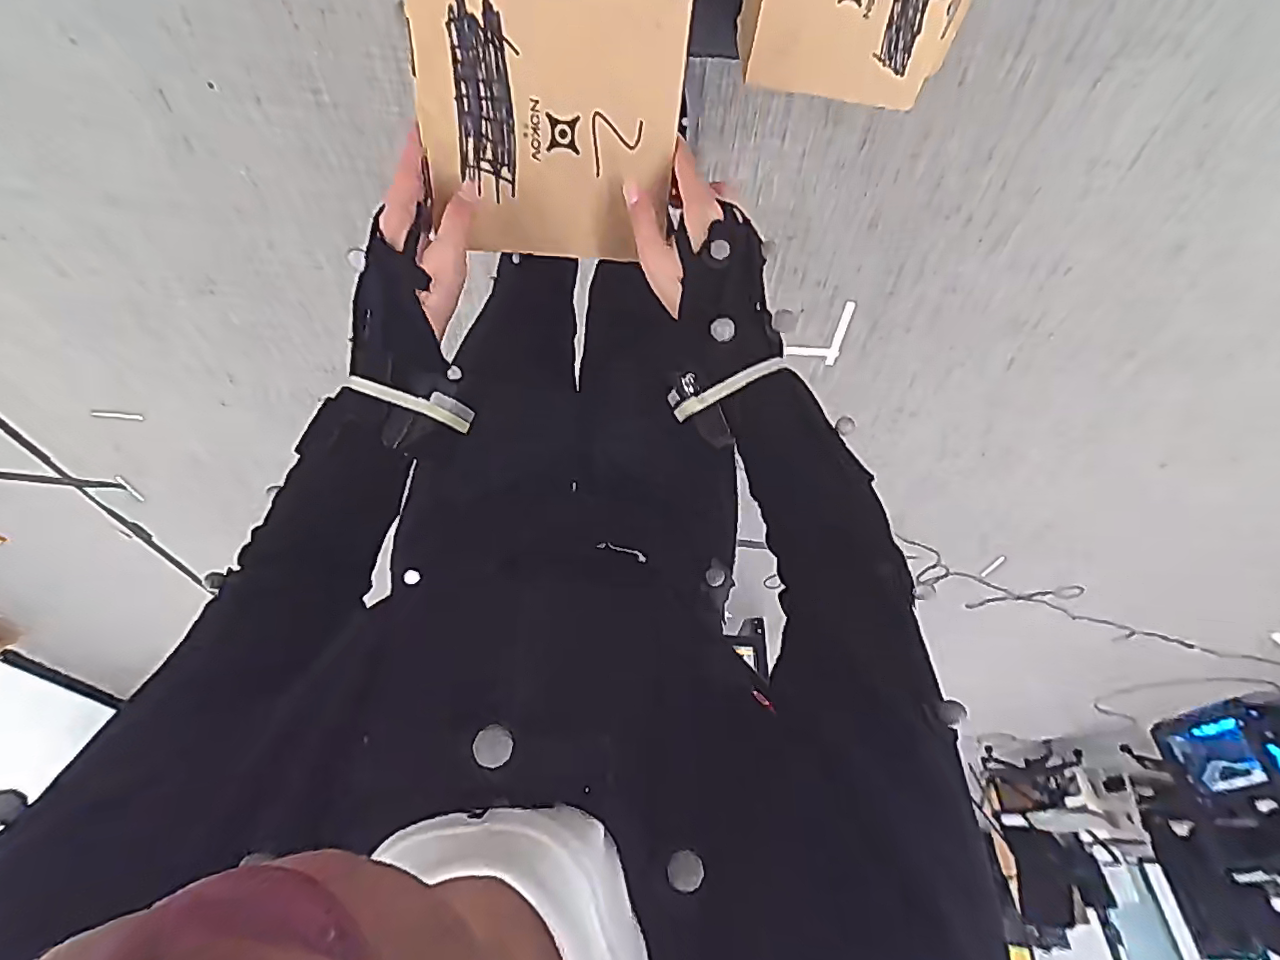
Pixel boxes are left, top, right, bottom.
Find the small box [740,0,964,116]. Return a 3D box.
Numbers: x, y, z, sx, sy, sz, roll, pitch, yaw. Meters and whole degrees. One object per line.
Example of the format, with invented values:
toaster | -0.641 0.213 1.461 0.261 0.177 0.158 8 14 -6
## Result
small box | 0.207 -0.494 0.534 0.179 0.176 0.168 7 141 -3
